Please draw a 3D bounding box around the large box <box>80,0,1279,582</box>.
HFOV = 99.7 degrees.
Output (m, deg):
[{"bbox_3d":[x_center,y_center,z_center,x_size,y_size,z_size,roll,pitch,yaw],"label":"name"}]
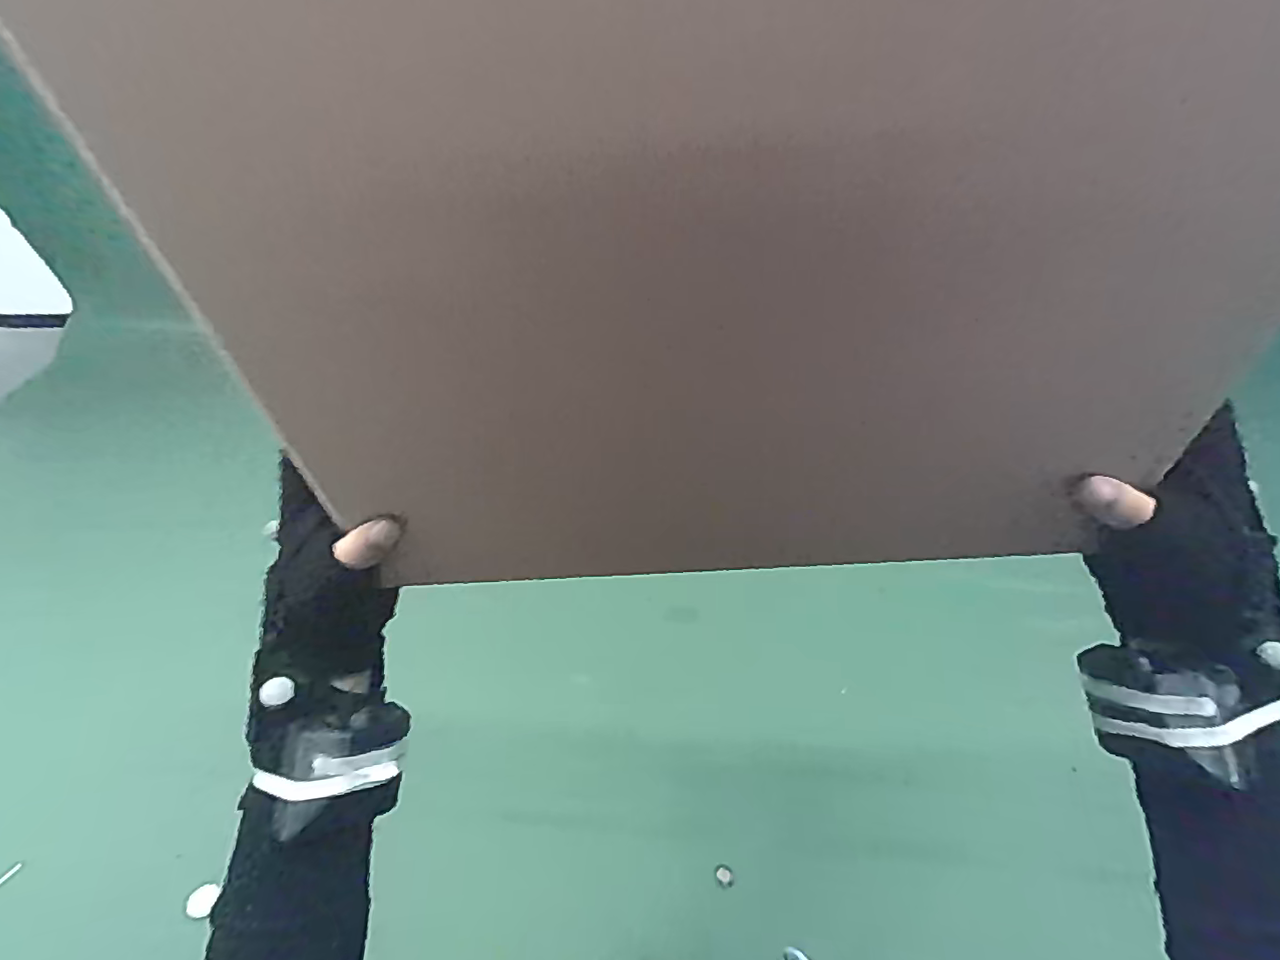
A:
[{"bbox_3d":[0.049,-0.162,0.312,0.408,0.320,0.320,-3,43,1],"label":"large box"}]
